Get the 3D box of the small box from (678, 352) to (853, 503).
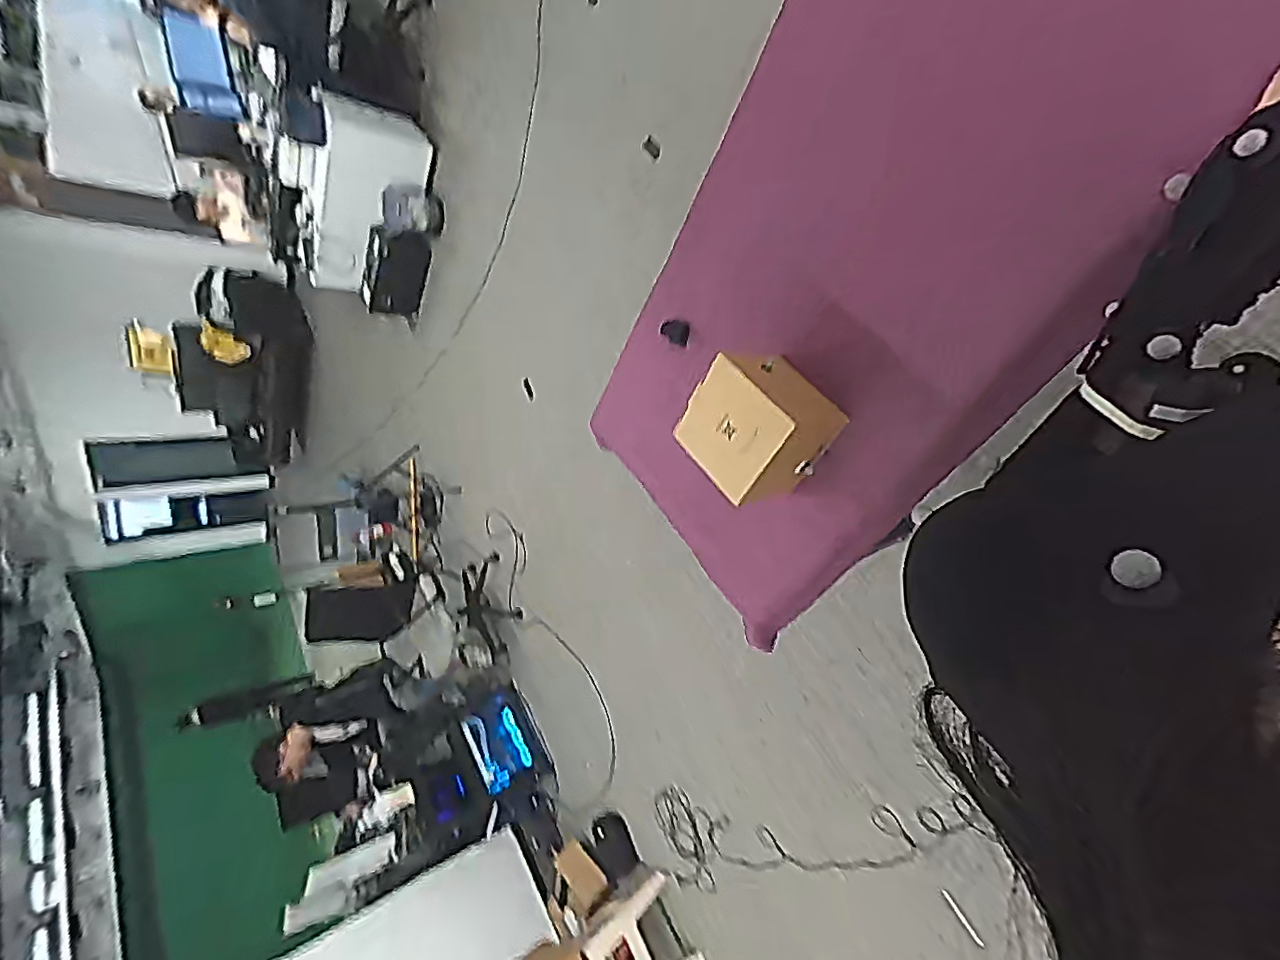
[{"bbox_3d":[0.201,-0.087,0.874,0.179,0.176,0.168,50,131,29],"label":"small box"}]
